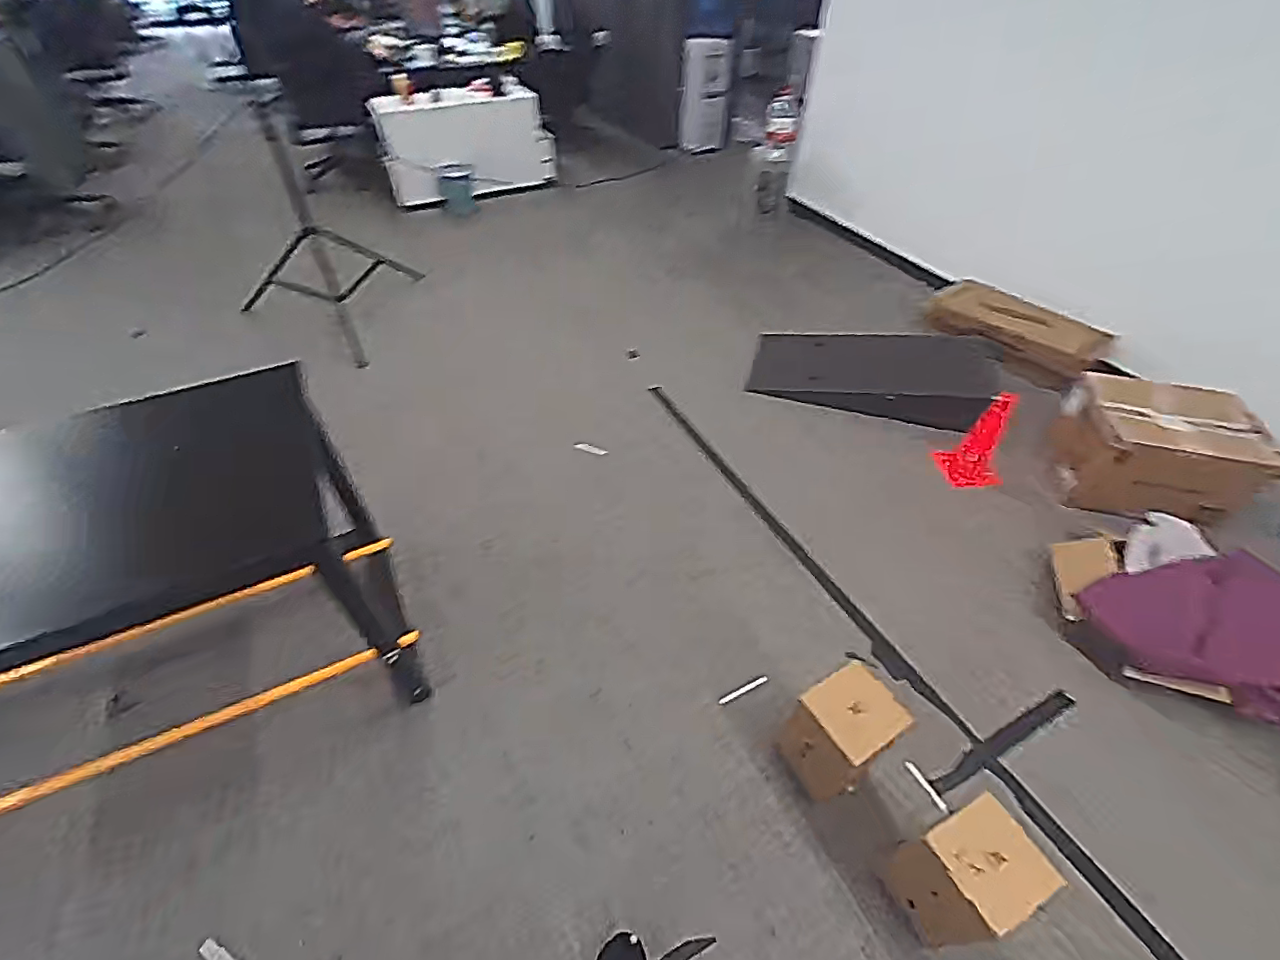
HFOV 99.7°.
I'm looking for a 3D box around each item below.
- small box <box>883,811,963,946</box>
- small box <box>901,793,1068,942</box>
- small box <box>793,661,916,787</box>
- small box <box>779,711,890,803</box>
[{"bbox_3d":[0.646,0.849,1.149,0.179,0.176,0.168,-21,50,-18],"label":"small box"},{"bbox_3d":[0.639,0.736,1.028,0.179,0.176,0.168,-20,49,-17],"label":"small box"},{"bbox_3d":[0.467,0.545,1.209,0.179,0.176,0.168,-25,50,-20],"label":"small box"},{"bbox_3d":[0.467,0.654,1.330,0.168,0.176,0.179,-22,51,-20],"label":"small box"}]
